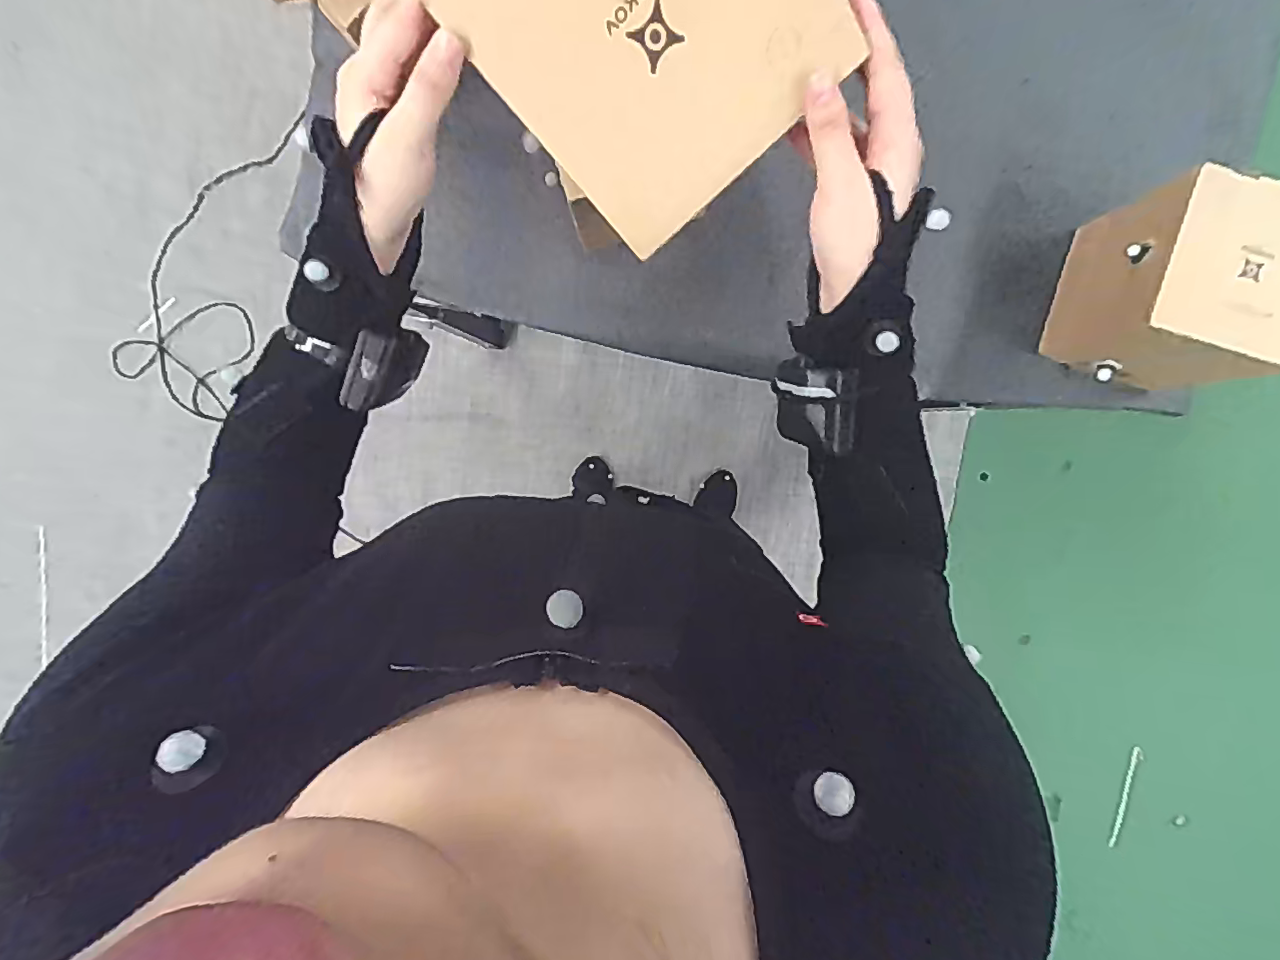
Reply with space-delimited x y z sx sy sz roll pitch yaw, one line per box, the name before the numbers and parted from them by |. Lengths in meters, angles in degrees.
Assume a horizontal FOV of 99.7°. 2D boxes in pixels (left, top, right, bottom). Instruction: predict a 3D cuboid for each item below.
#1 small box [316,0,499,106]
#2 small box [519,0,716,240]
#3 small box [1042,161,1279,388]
small box | -0.291 -0.584 0.611 0.168 0.176 0.179 -41 95 5
small box | -0.020 -0.400 0.625 0.168 0.176 0.179 -16 95 2
small box | 0.619 -0.220 0.627 0.168 0.176 0.179 17 93 1
